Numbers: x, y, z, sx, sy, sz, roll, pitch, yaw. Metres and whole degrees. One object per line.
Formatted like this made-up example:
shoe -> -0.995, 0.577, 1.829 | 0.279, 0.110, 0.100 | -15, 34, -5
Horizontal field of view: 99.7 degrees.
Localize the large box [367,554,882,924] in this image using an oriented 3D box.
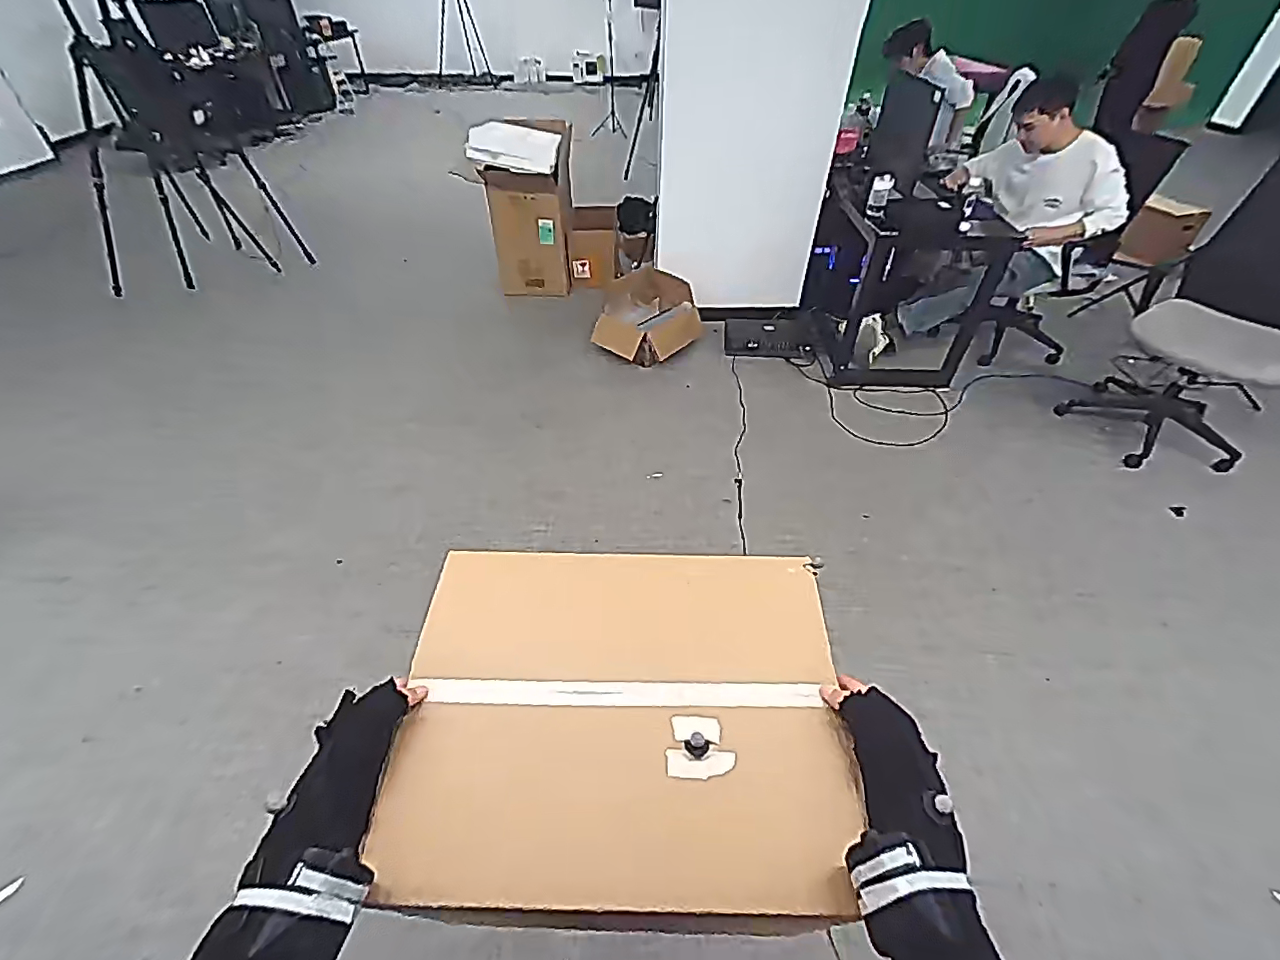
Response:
large box -> -0.013, 0.300, 0.619 | 0.408, 0.320, 0.320 | 1, 49, 0
